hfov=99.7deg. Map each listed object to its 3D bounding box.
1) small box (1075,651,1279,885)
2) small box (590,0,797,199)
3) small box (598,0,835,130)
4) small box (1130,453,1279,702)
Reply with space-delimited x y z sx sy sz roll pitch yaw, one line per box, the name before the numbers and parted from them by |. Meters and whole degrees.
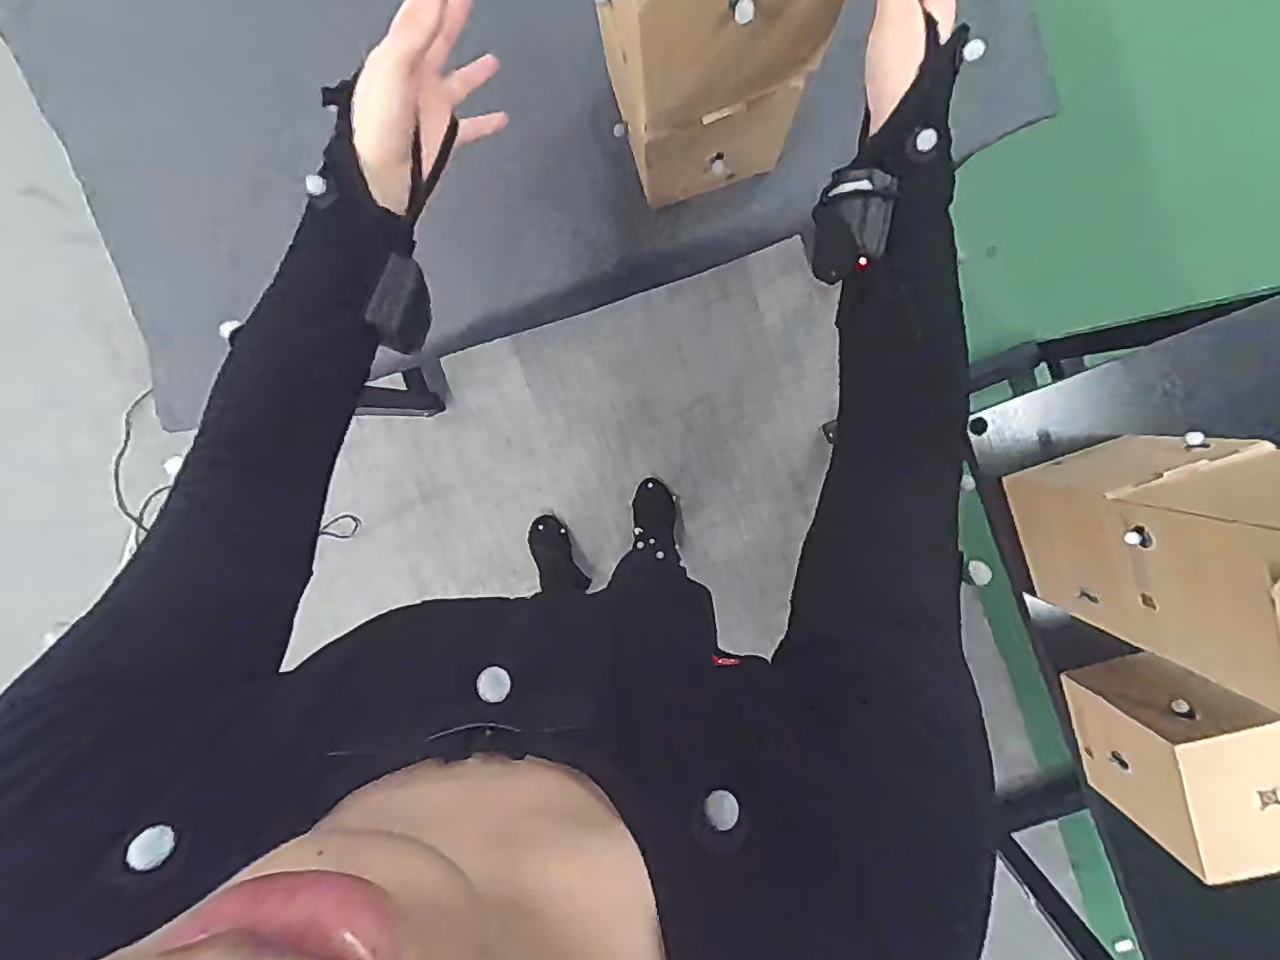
small box | 0.661 0.319 0.637 0.179 0.176 0.168 -17 95 5
small box | 0.056 -0.438 0.593 0.168 0.176 0.179 -17 94 6
small box | 0.053 -0.428 0.429 0.179 0.176 0.168 -19 93 6
small box | 0.565 0.080 0.451 0.179 0.176 0.168 -18 96 4
